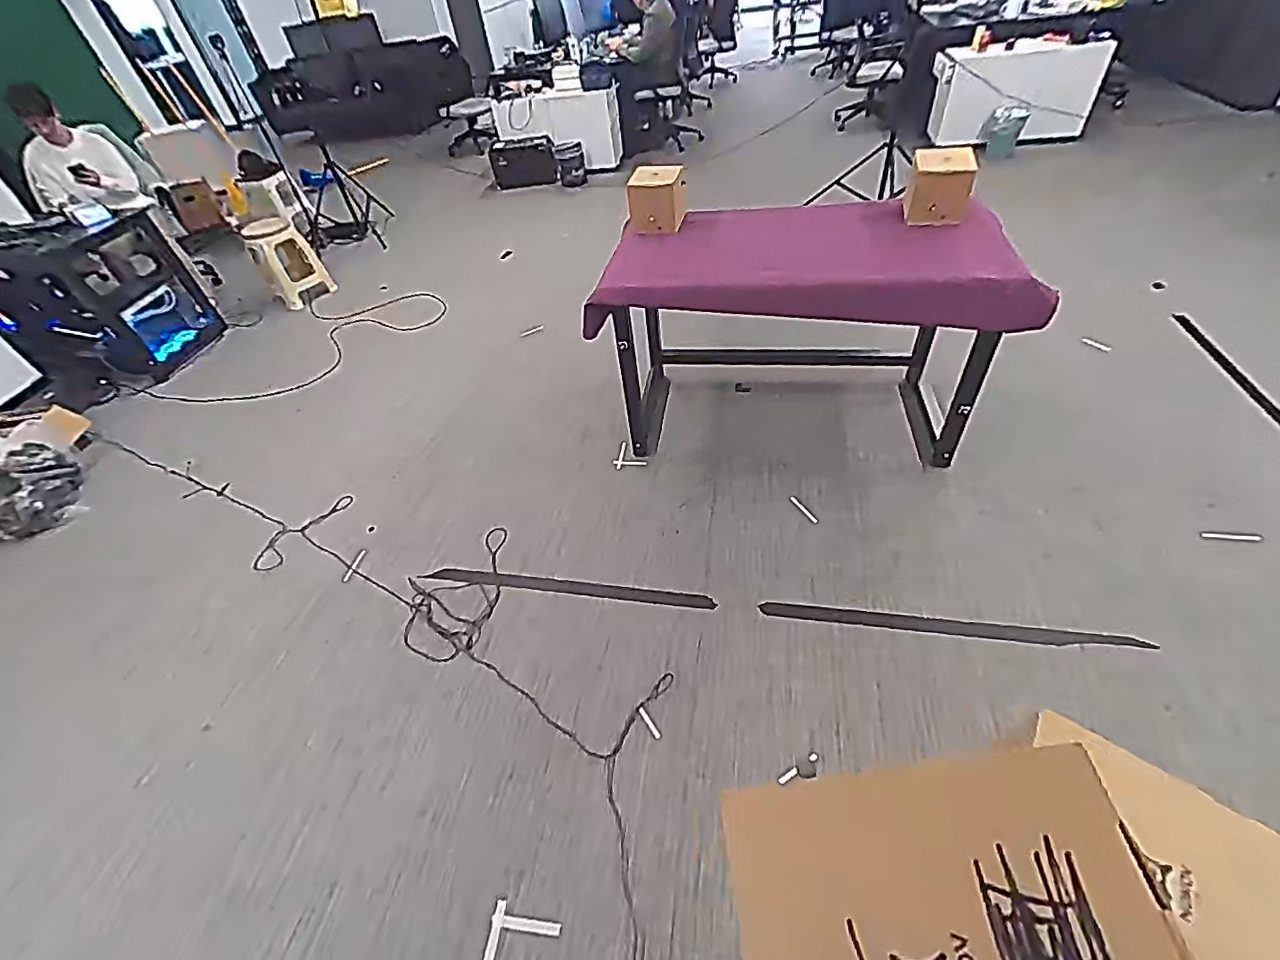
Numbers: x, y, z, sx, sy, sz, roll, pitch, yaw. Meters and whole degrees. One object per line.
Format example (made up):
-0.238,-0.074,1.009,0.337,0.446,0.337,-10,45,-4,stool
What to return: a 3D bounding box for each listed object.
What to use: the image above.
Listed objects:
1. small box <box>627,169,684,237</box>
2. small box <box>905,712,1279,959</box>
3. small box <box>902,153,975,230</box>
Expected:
0.062,-0.993,1.937,0.168,0.176,0.179,6,49,14,small box
0.341,0.324,0.412,0.179,0.176,0.168,30,49,24,small box
0.956,-0.932,1.749,0.168,0.176,0.179,6,51,14,small box
